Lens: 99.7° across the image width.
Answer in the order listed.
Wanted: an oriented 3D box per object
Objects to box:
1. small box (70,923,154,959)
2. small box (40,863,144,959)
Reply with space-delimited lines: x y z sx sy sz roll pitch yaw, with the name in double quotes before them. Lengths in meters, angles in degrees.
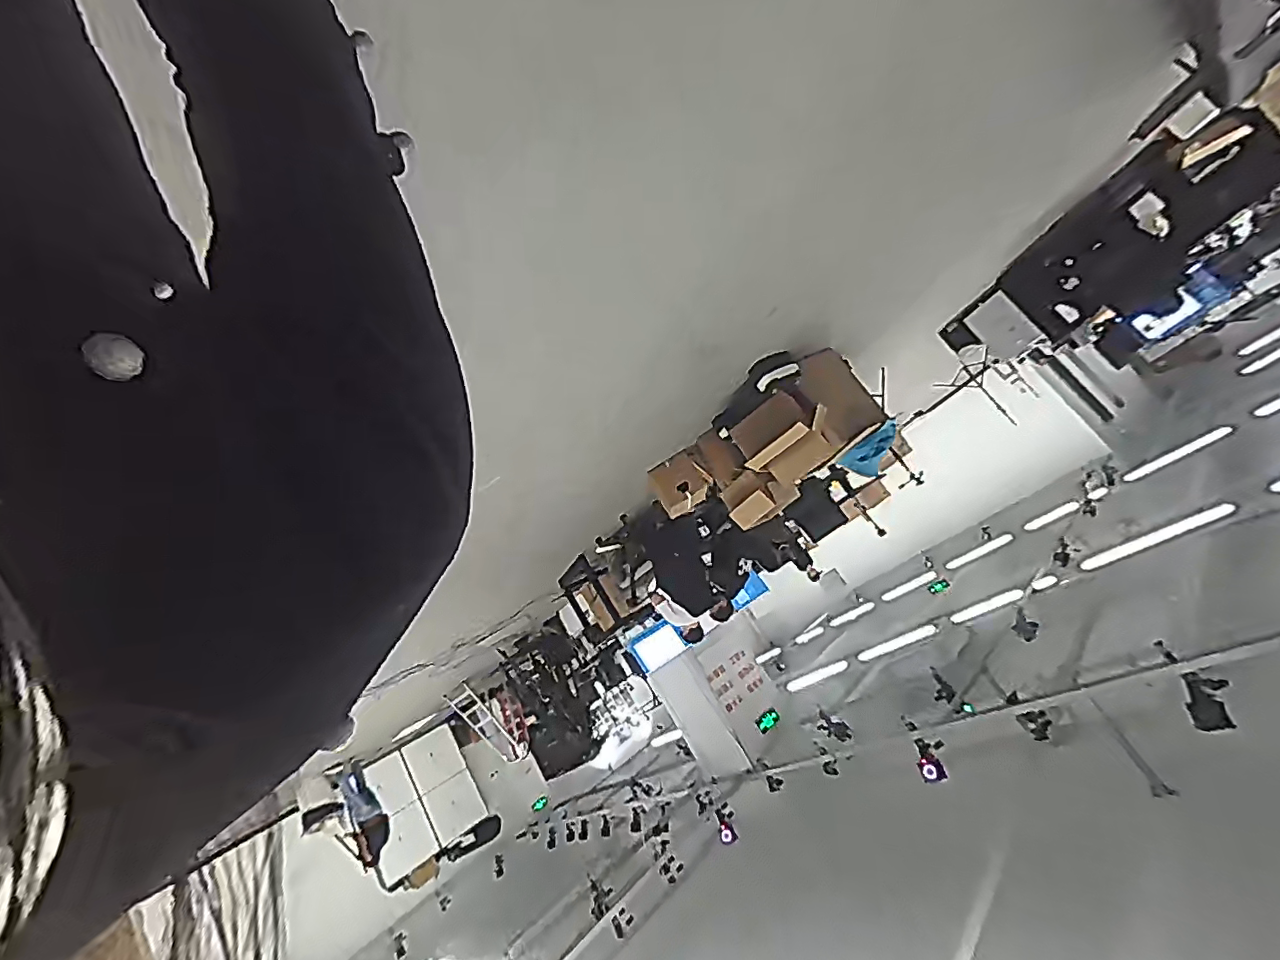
"small box" -1.472 1.368 1.495 0.168 0.176 0.179 -21 160 -41
"small box" -1.557 1.236 1.538 0.179 0.176 0.168 -18 159 -40
